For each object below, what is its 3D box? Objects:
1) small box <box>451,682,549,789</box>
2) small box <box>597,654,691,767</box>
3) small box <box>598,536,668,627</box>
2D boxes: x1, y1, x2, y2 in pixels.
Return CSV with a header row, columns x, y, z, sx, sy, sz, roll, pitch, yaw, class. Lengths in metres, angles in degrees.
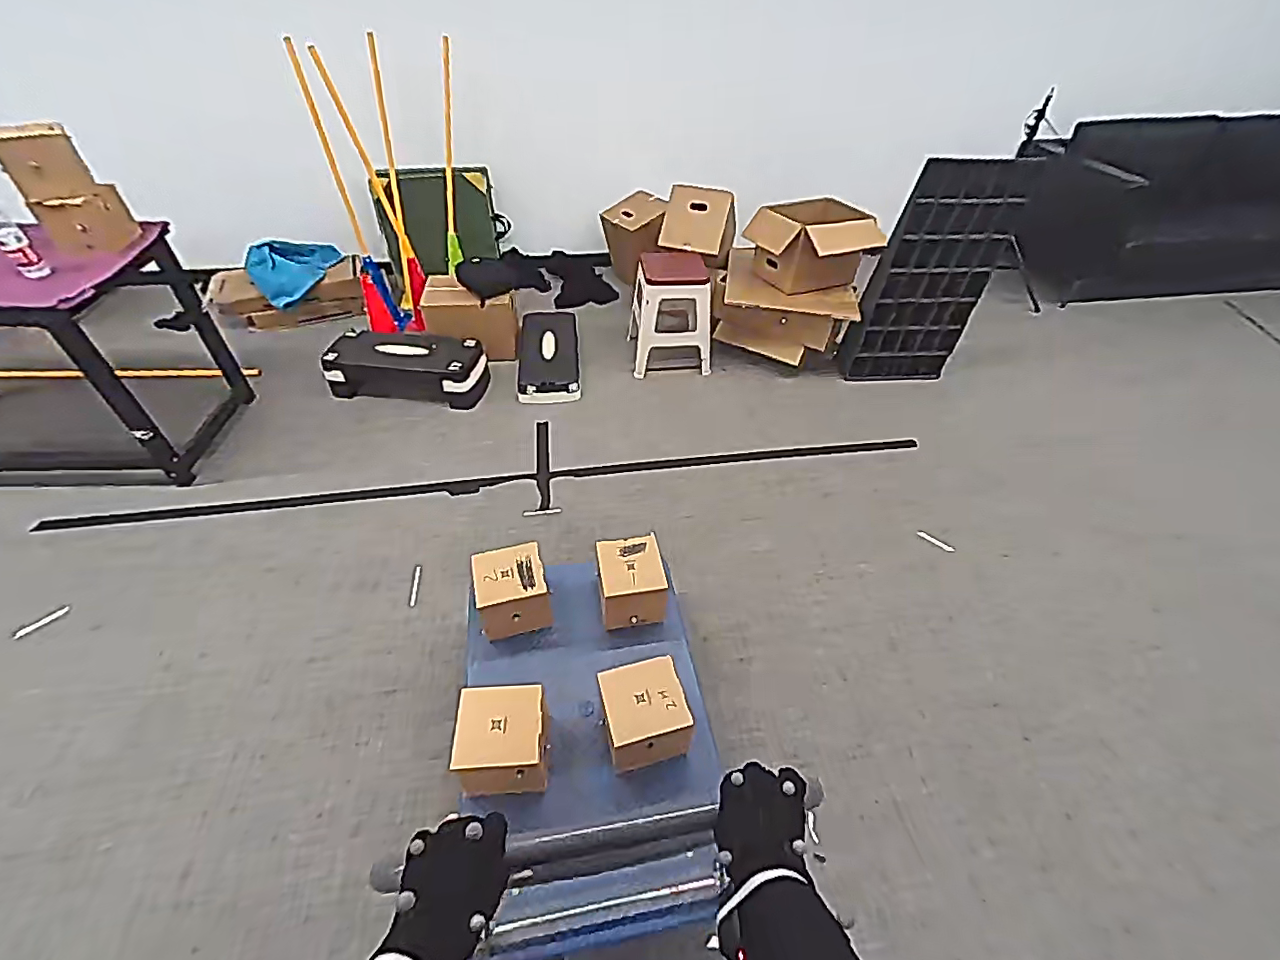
x,y,z,sx,sy,sz,roll,pitch,yaw,class
-0.296,0.562,1.184,0.179,0.176,0.168,-1,45,-6,small box
0.005,0.528,1.232,0.179,0.176,0.168,-10,46,-12,small box
-0.026,0.278,1.480,0.168,0.176,0.179,-6,47,-9,small box
